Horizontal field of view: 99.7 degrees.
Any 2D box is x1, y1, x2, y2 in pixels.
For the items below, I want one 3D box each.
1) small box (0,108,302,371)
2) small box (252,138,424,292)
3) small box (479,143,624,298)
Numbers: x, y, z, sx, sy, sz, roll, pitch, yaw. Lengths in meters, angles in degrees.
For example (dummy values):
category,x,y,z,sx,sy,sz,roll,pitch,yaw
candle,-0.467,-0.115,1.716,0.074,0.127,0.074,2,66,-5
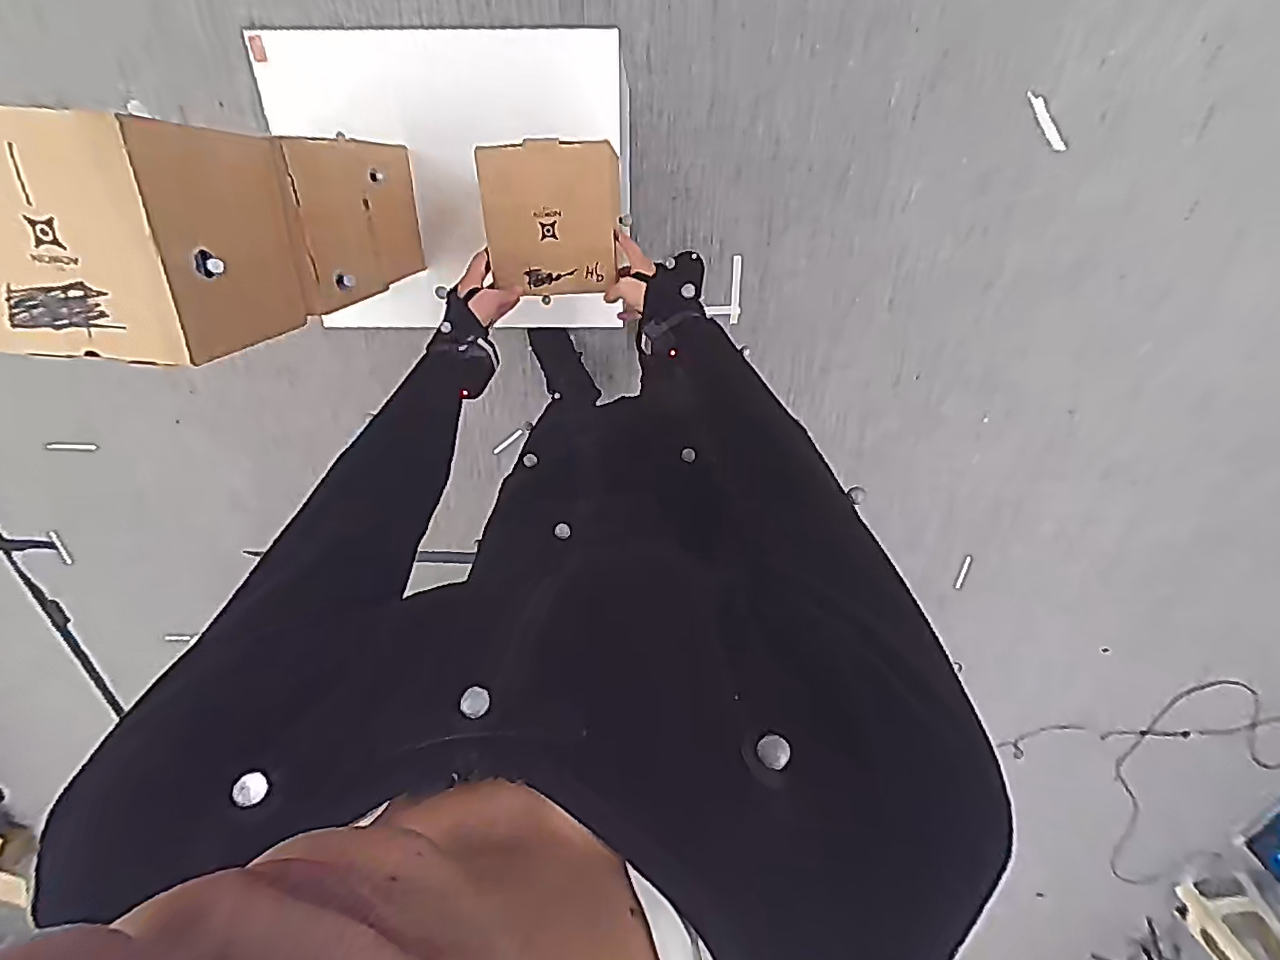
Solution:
category,x,y,z,sx,sy,sz,roll,pitch,yaw
small box,-0.432,-0.209,0.470,0.168,0.176,0.179,4,118,-2
small box,-0.421,-0.370,0.757,0.168,0.176,0.179,1,118,-1
small box,-0.111,-0.355,0.755,0.168,0.176,0.179,-1,115,3
